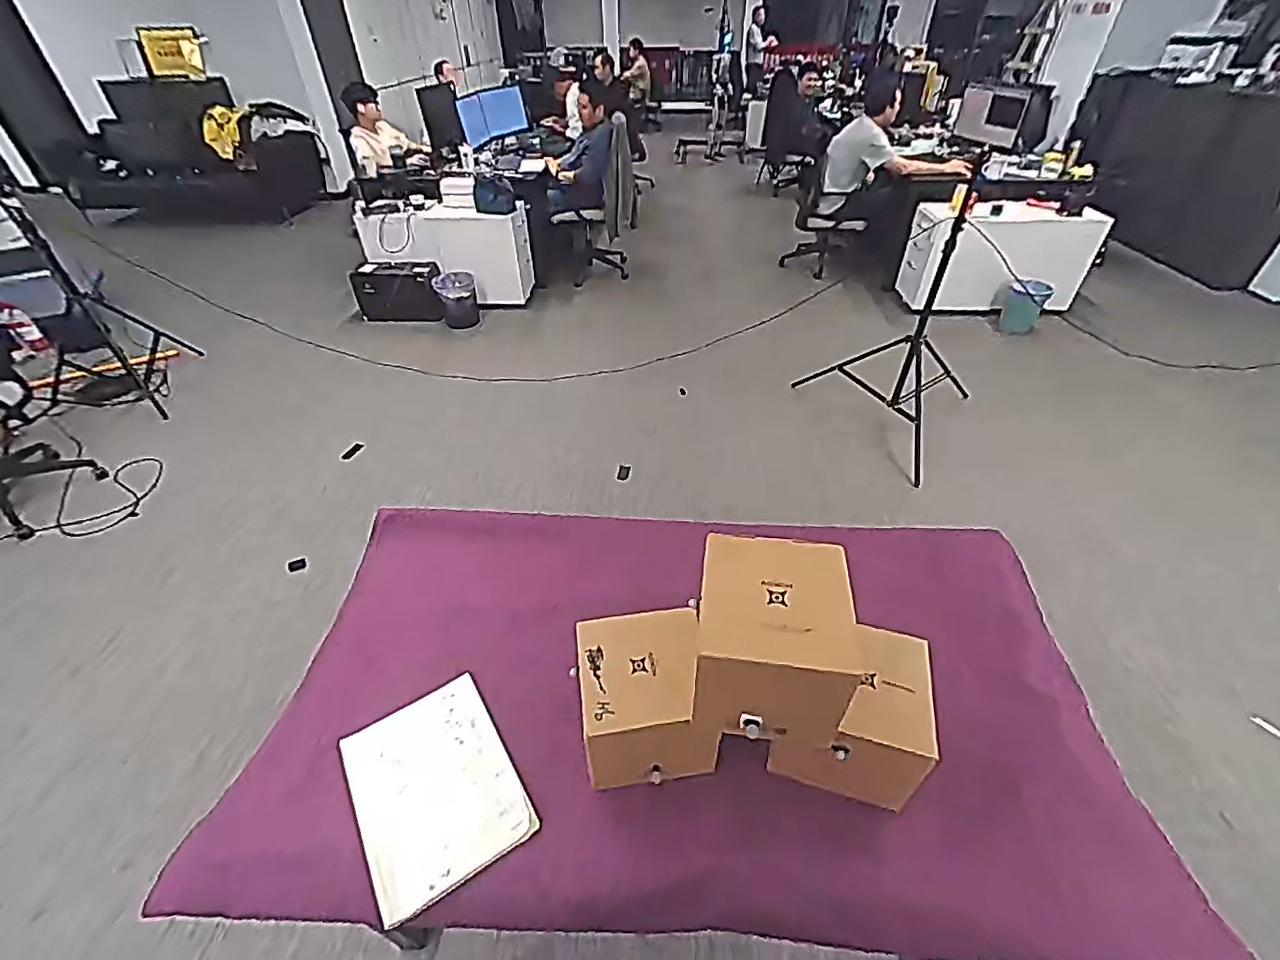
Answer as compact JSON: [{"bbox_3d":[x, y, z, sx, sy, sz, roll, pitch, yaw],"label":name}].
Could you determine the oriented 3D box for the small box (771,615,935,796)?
[{"bbox_3d":[0.285,0.304,0.749,0.179,0.176,0.168,11,42,15],"label":"small box"}]

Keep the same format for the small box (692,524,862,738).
[{"bbox_3d":[0.152,0.178,0.651,0.168,0.176,0.179,4,41,8],"label":"small box"}]

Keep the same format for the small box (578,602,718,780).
[{"bbox_3d":[0.007,0.298,0.765,0.179,0.176,0.168,-6,40,-7],"label":"small box"}]
